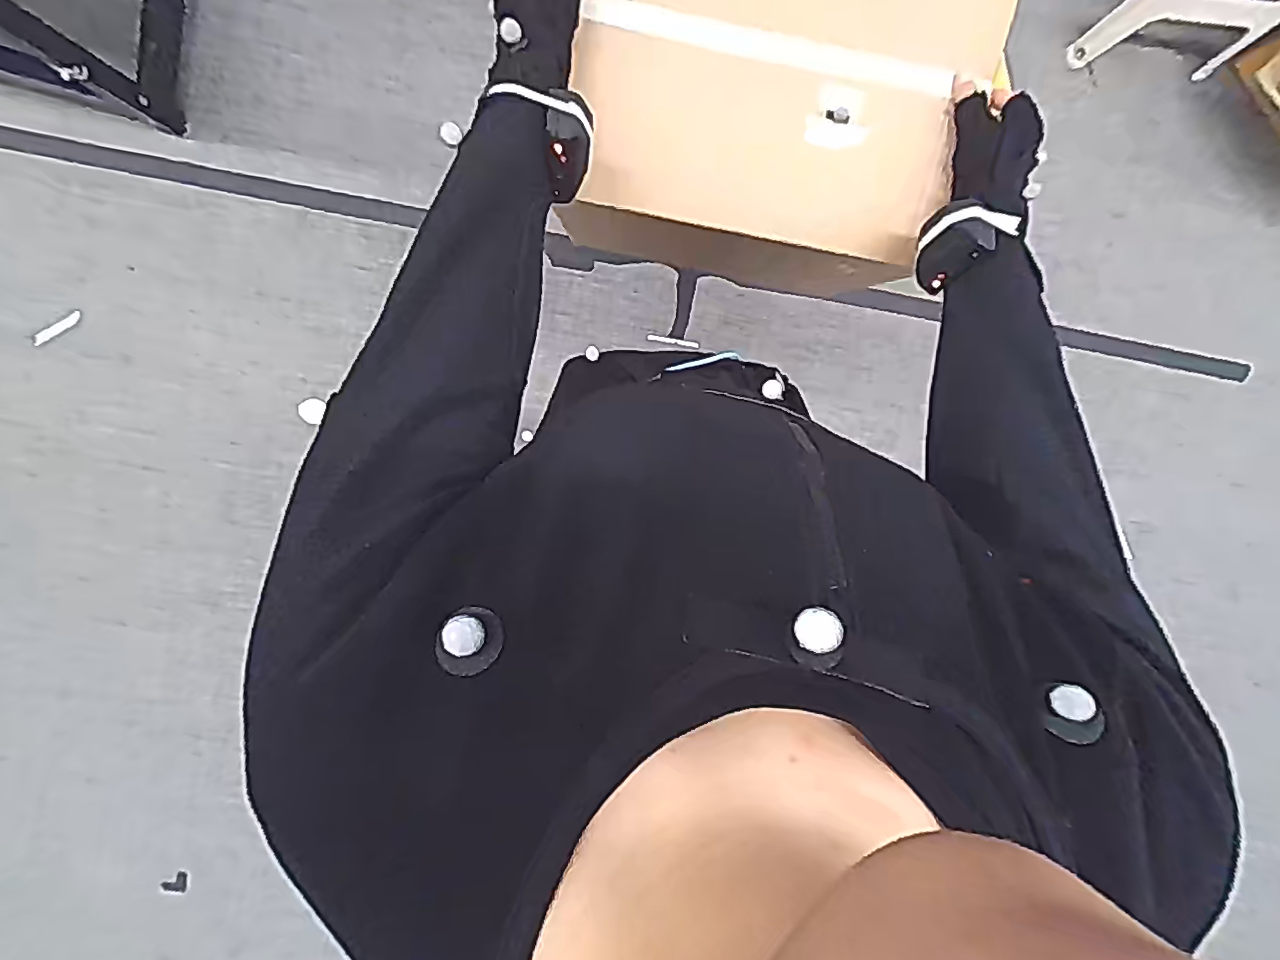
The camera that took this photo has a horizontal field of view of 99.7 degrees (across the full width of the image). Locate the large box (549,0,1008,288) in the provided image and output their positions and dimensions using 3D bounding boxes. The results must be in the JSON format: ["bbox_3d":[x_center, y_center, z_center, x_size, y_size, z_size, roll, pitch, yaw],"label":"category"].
[{"bbox_3d":[0.125,-0.437,0.649,0.408,0.320,0.320,10,105,-4],"label":"large box"}]
